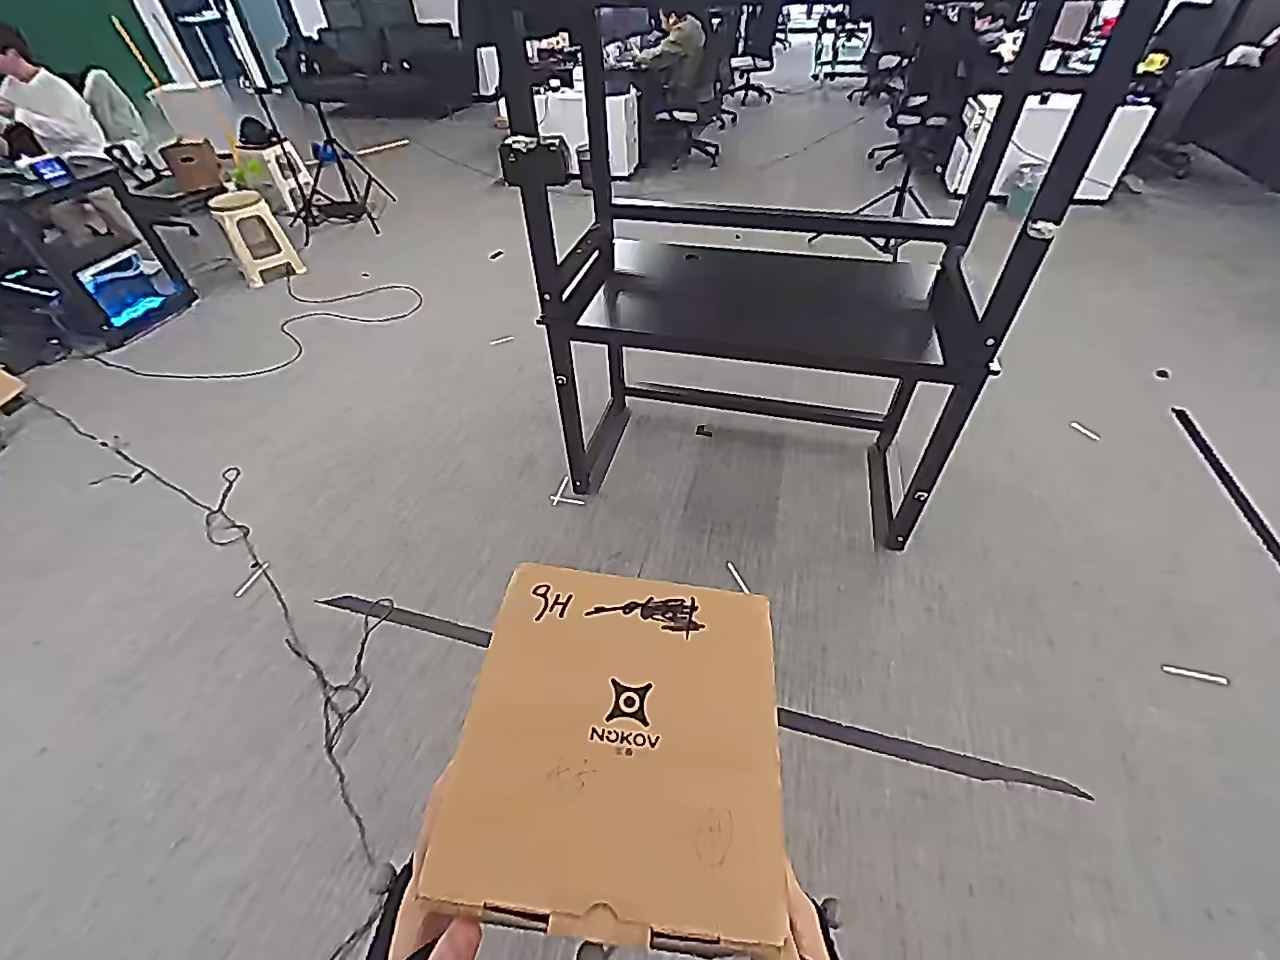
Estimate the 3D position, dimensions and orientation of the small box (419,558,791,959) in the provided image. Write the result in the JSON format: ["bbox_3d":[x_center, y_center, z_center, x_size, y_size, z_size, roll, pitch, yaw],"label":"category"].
[{"bbox_3d":[-0.011,0.177,0.344,0.168,0.176,0.179,9,49,1],"label":"small box"}]
